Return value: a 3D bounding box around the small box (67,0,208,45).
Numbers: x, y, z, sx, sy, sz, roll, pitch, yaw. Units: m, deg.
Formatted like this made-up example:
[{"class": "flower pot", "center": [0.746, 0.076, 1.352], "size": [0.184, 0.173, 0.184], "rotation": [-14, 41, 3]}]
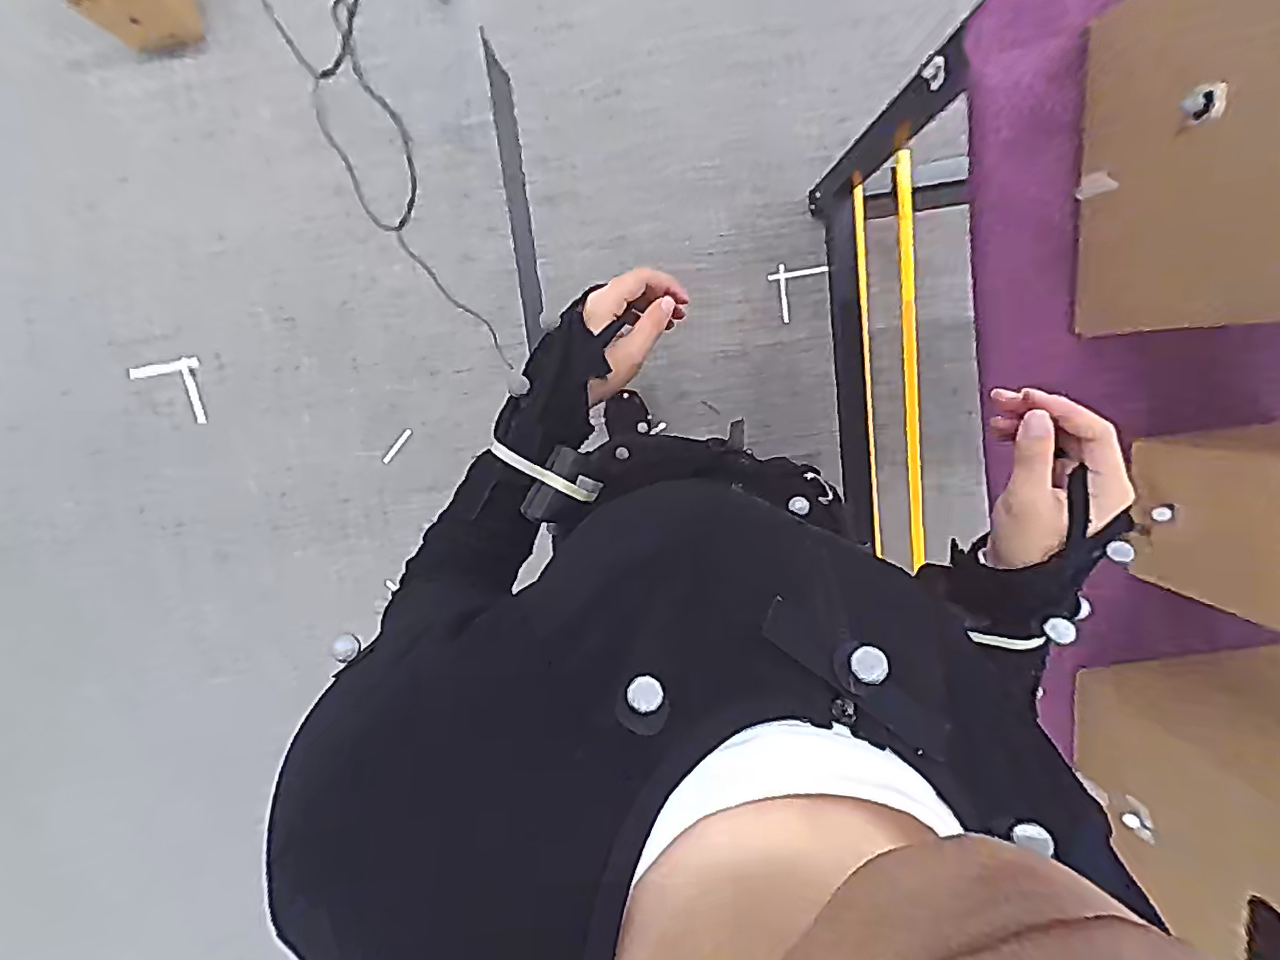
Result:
[{"class": "small box", "center": [-1.040, -1.033, 1.105], "size": [0.168, 0.176, 0.179], "rotation": [-9, 100, 2]}]
